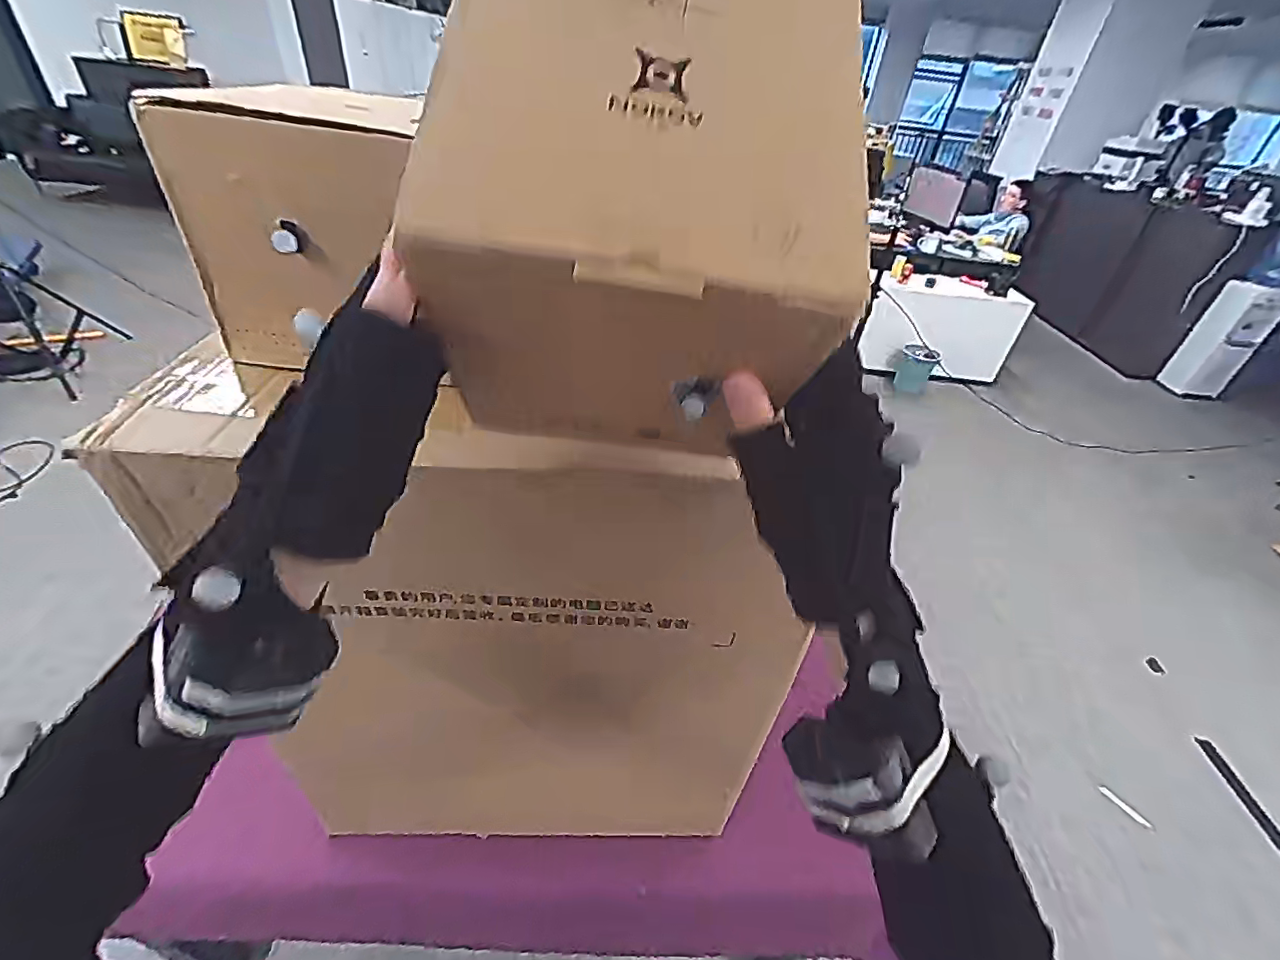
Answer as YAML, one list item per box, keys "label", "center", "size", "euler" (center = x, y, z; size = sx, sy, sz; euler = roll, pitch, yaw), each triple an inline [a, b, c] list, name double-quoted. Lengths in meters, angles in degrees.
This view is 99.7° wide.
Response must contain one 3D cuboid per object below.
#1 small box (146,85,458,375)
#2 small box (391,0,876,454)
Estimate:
- label: "small box"
  center: [-0.206, -0.196, 0.425]
  size: [0.179, 0.176, 0.168]
  euler: [5, 38, -3]
- label: "small box"
  center: [-0.002, -0.125, 0.277]
  size: [0.168, 0.176, 0.179]
  euler: [8, 72, -7]
